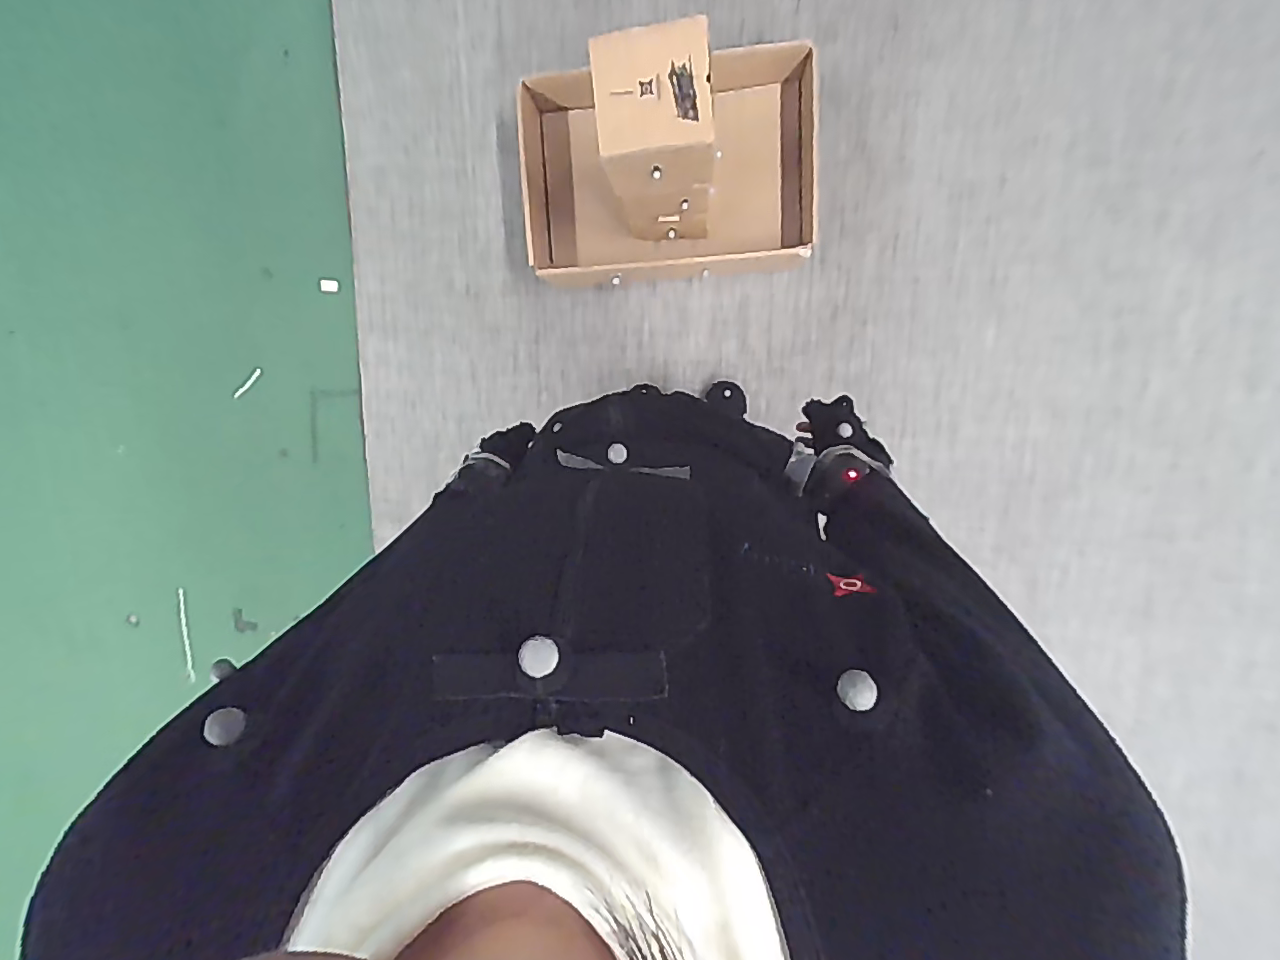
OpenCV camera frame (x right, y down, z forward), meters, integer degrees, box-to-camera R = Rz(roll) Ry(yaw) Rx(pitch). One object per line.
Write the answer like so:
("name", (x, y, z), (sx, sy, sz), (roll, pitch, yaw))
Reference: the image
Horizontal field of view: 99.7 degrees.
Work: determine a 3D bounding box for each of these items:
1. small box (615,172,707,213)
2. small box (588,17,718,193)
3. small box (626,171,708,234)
("small box", (0.044, -0.623, 1.029), (0.168, 0.176, 0.179), (0, 99, 7))
("small box", (0.025, -0.586, 0.870), (0.179, 0.176, 0.168), (-7, 100, 7))
("small box", (0.063, -0.650, 1.188), (0.168, 0.176, 0.179), (1, 100, 7))
